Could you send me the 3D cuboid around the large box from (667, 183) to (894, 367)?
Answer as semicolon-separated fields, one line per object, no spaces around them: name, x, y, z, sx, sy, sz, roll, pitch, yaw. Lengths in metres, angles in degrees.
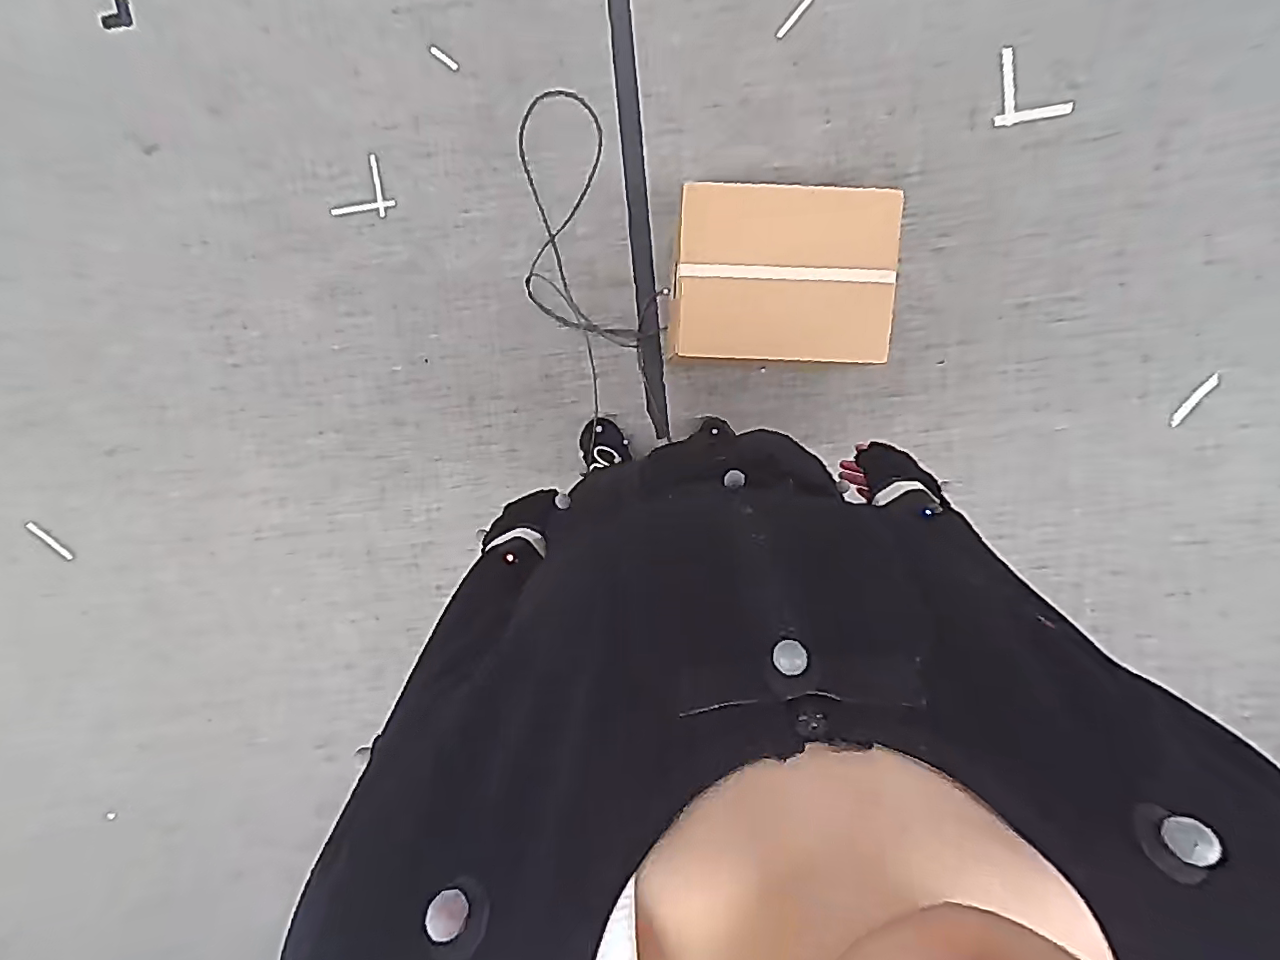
large box;0.266;-0.411;1.163;0.408;0.320;0.320;2;99;-1
